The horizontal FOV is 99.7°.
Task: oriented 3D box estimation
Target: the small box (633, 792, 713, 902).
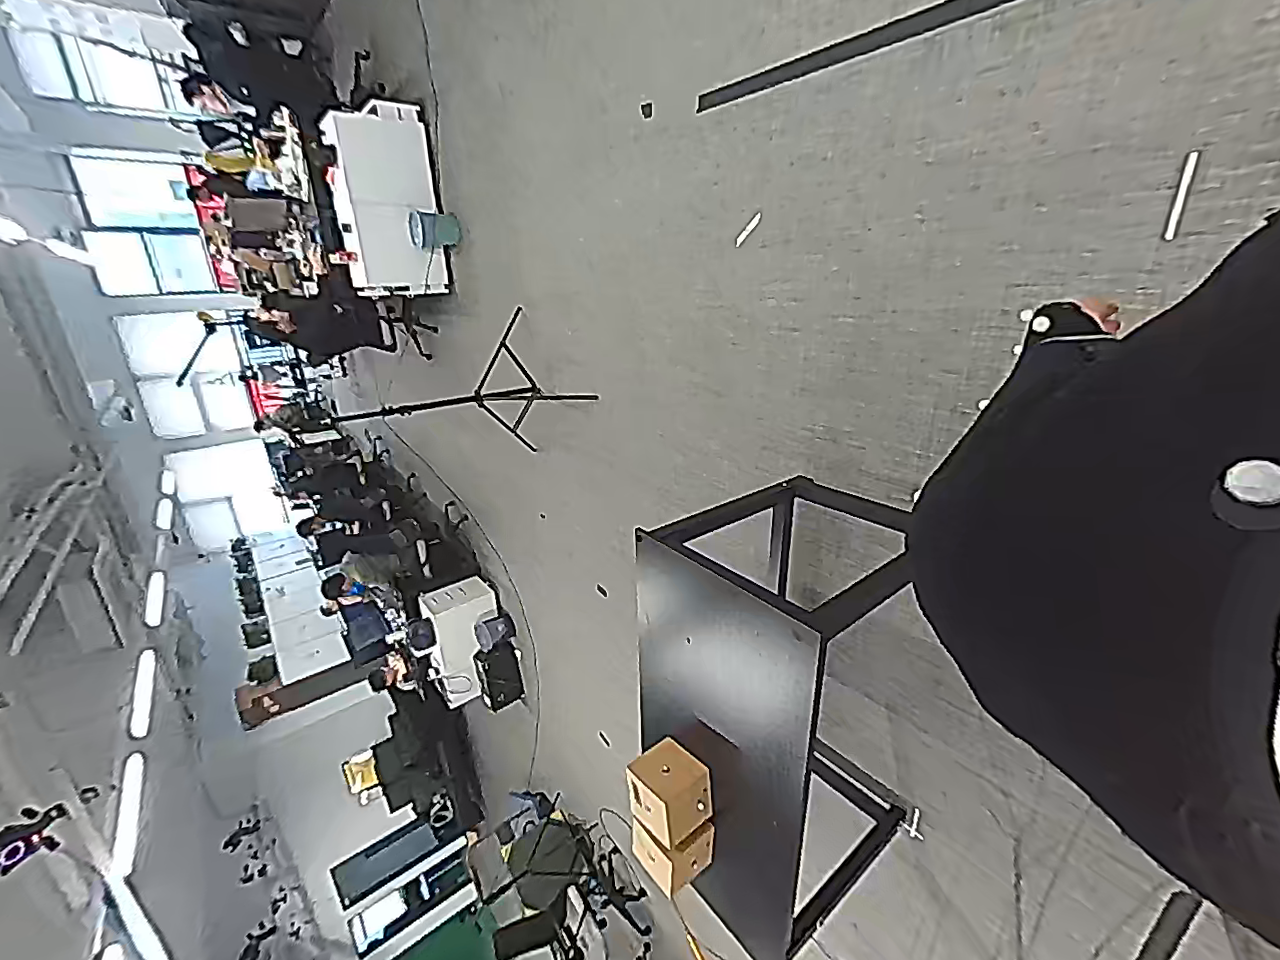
[{"bbox_3d":[0.097,1.070,1.593,0.179,0.176,0.168,28,124,47],"label":"small box"}]
